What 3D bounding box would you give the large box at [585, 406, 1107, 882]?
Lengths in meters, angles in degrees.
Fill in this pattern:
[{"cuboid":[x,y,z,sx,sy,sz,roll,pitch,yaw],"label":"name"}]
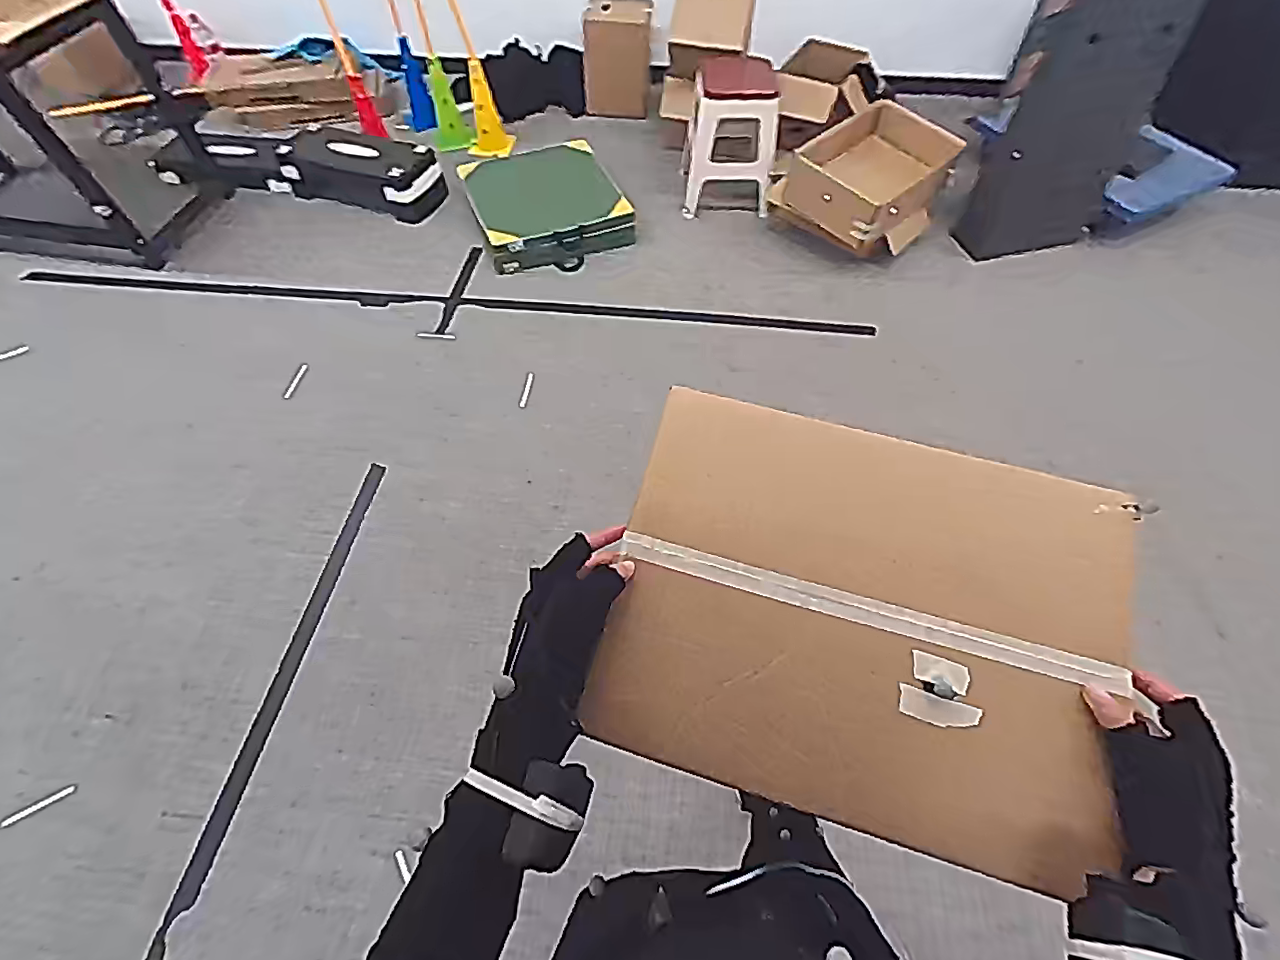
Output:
[{"cuboid":[0.189,0.156,0.605,0.408,0.320,0.320,15,75,8],"label":"large box"}]
